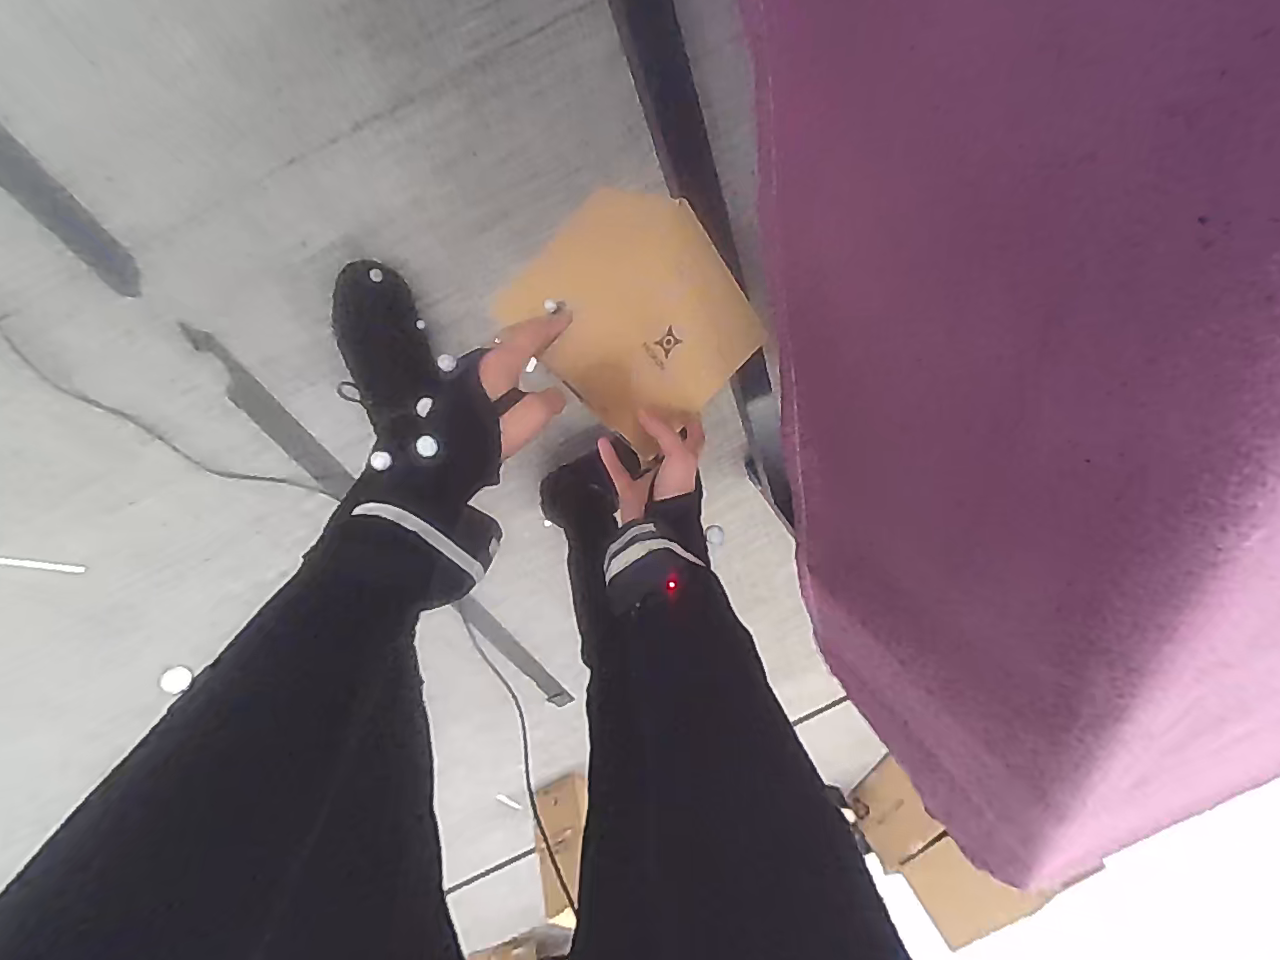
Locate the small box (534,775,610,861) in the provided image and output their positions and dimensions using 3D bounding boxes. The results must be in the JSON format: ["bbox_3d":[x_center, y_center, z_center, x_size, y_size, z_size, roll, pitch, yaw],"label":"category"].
[{"bbox_3d":[-0.218,1.066,1.710,0.168,0.176,0.179,-29,130,4],"label":"small box"}]
